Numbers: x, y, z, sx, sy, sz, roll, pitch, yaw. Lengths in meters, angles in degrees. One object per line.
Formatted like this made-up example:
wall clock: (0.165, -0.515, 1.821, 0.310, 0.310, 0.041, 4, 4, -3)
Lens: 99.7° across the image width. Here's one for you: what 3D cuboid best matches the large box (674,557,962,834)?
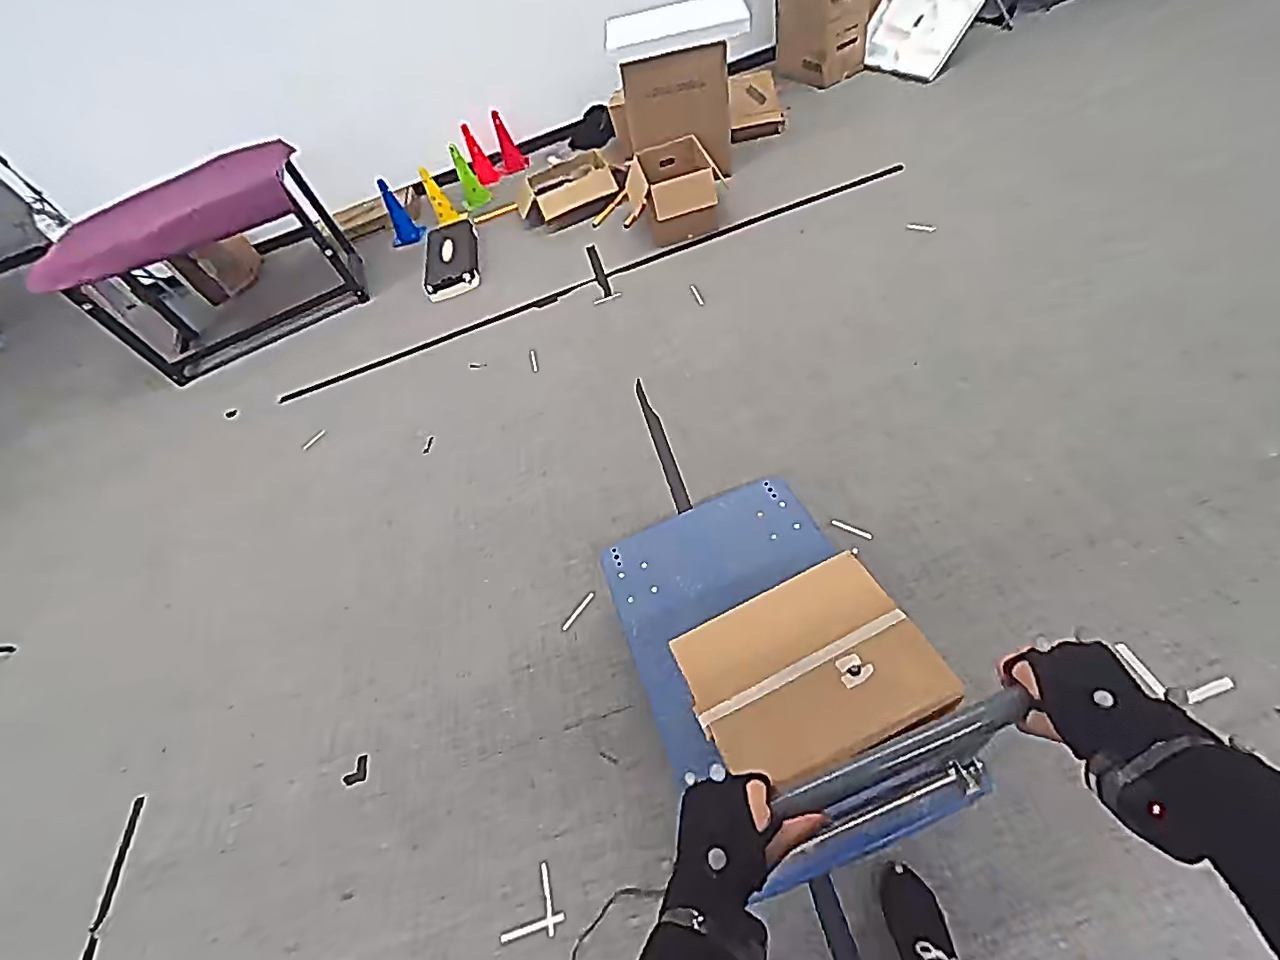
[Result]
large box: (0.328, 0.430, 1.076, 0.408, 0.320, 0.320, -26, 51, -5)
